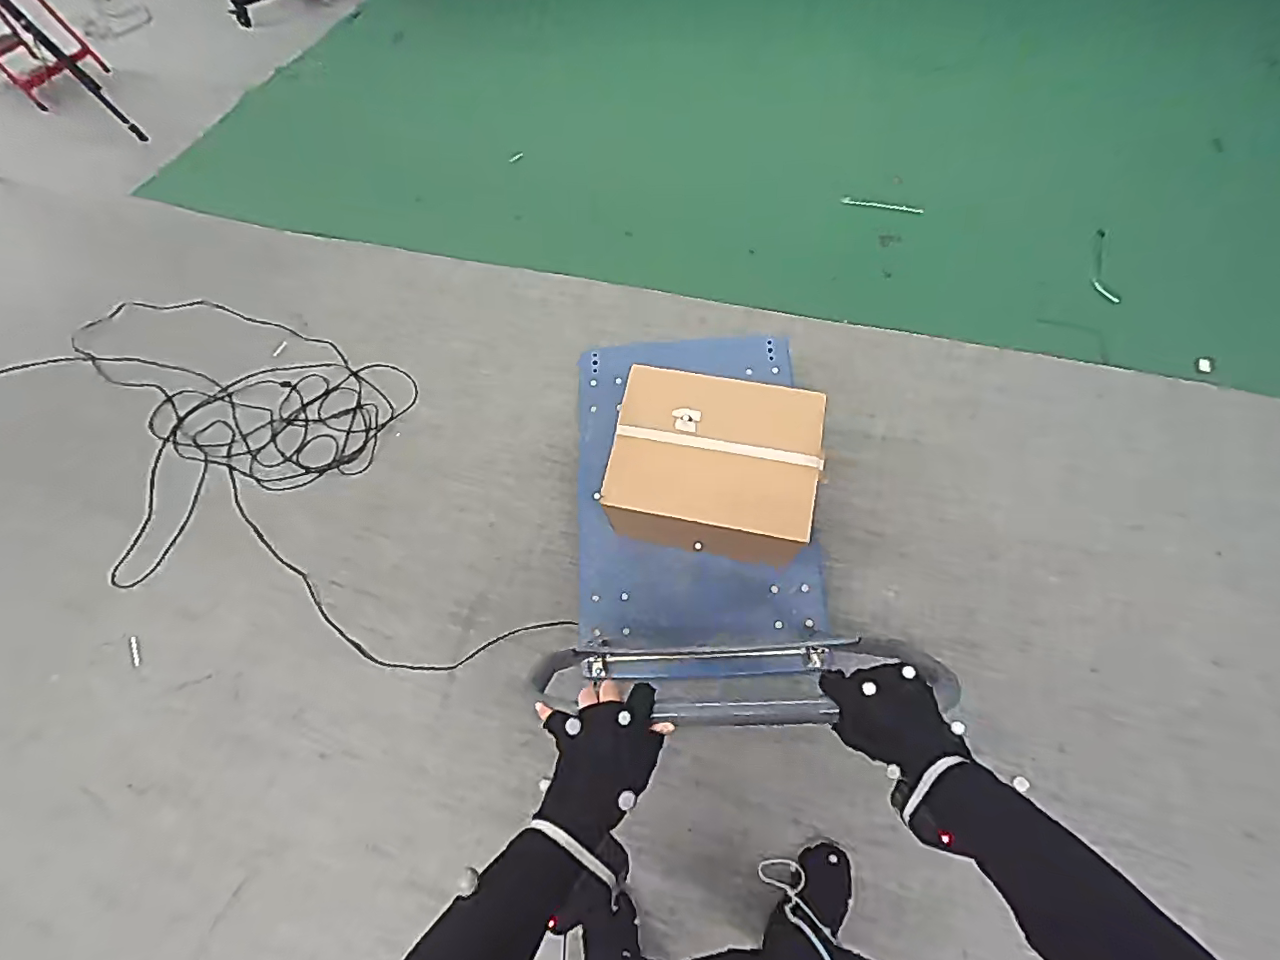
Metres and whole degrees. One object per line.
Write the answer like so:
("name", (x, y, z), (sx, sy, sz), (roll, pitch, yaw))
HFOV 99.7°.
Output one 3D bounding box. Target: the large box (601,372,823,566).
("large box", (0.161, -0.010, 1.208), (0.408, 0.320, 0.320), (10, 73, 9))
